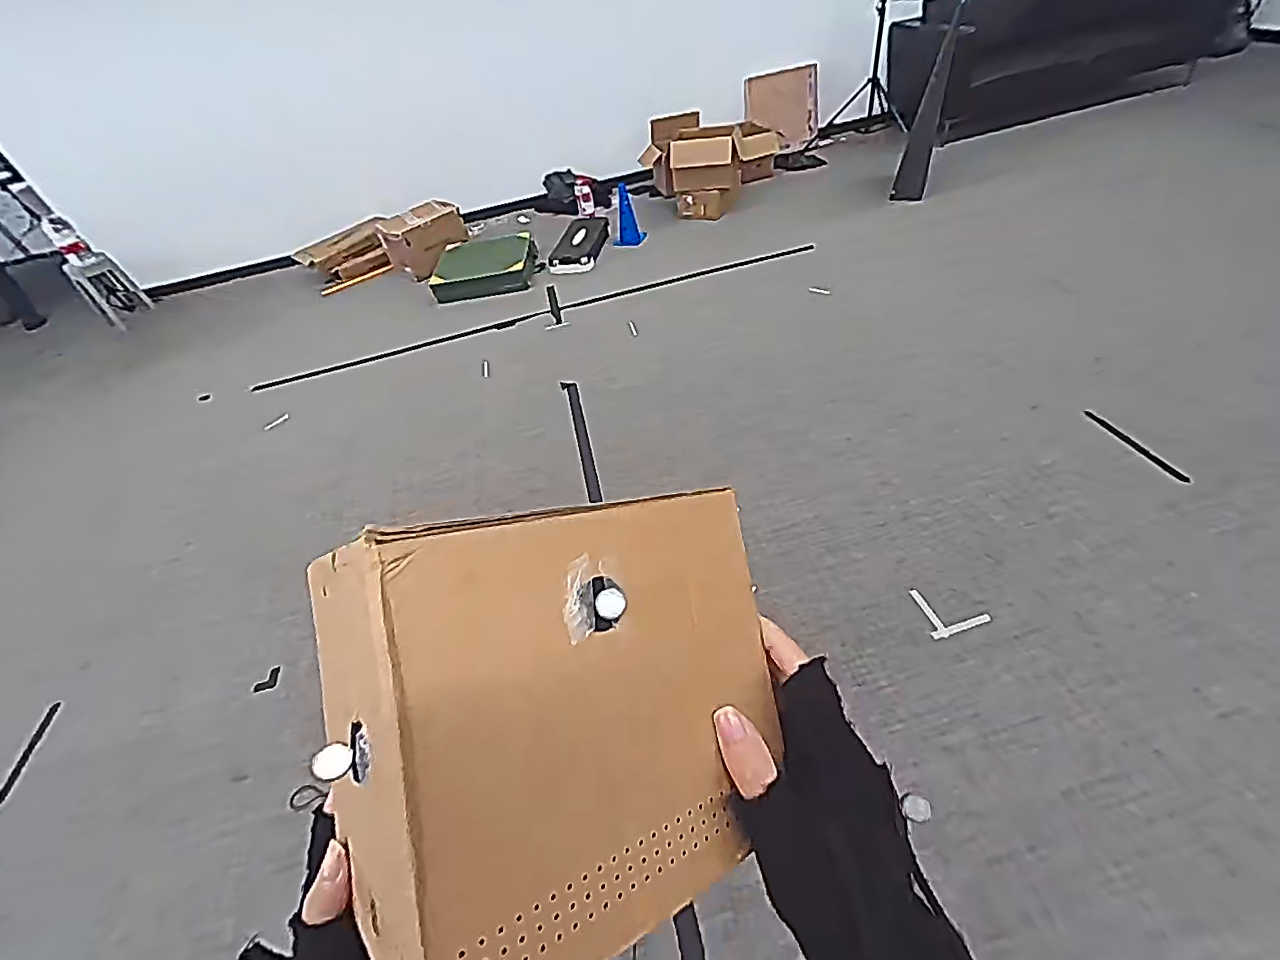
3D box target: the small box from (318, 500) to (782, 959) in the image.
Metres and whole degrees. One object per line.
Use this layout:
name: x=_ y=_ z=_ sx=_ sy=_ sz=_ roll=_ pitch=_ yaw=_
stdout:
small box: x=-0.050 y=0.114 z=0.279 sx=0.179 sy=0.176 sz=0.168 roll=-5 pitch=-7 yaw=-37
